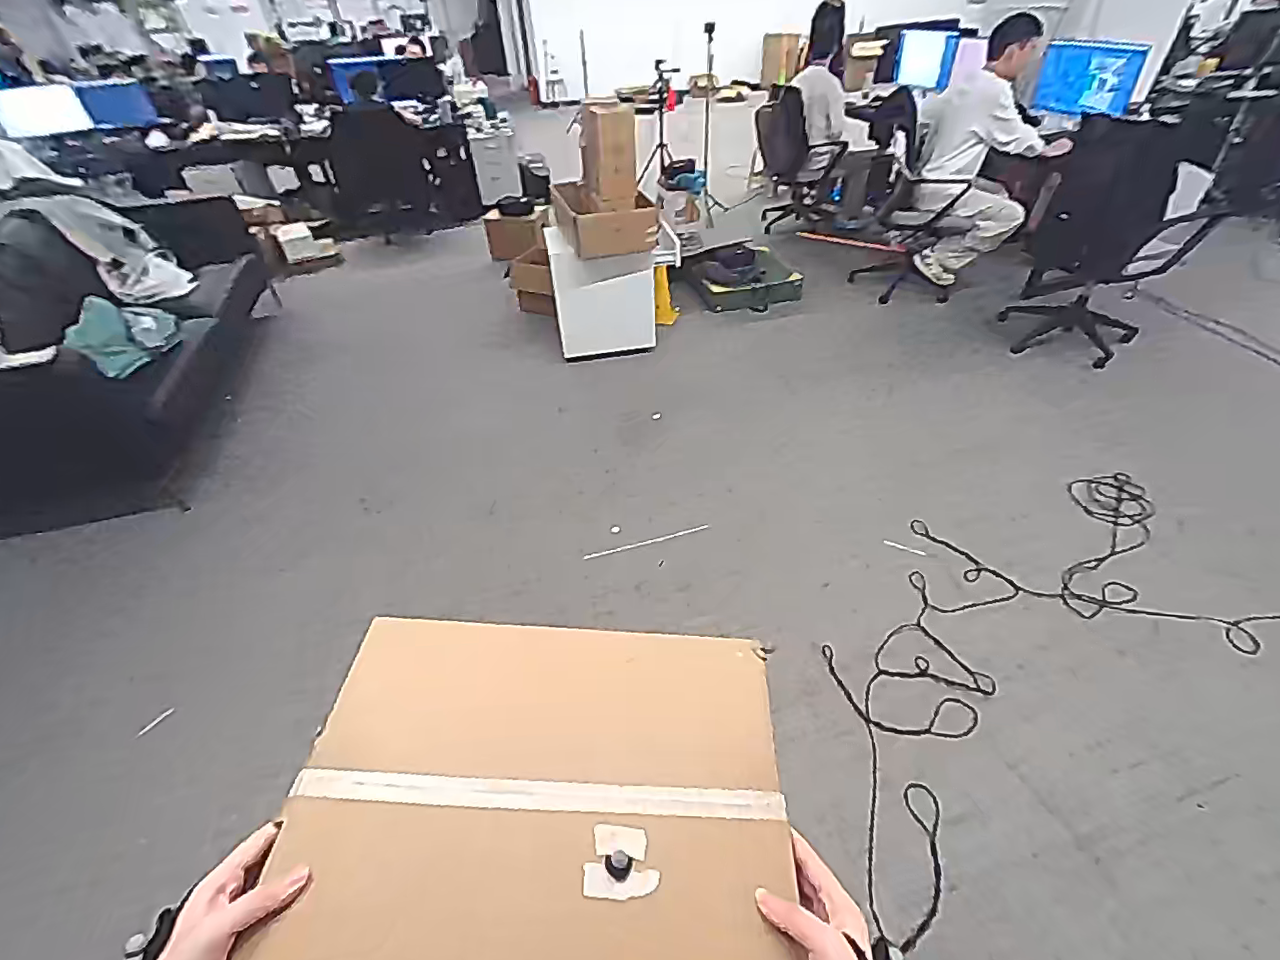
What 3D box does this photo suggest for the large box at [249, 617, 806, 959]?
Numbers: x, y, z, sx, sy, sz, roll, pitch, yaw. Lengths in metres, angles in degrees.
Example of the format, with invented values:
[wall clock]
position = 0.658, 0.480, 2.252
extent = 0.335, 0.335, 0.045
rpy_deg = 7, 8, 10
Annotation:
[large box]
position = -0.084, 0.371, 0.571
extent = 0.408, 0.320, 0.320
rpy_deg = 5, 45, -1
